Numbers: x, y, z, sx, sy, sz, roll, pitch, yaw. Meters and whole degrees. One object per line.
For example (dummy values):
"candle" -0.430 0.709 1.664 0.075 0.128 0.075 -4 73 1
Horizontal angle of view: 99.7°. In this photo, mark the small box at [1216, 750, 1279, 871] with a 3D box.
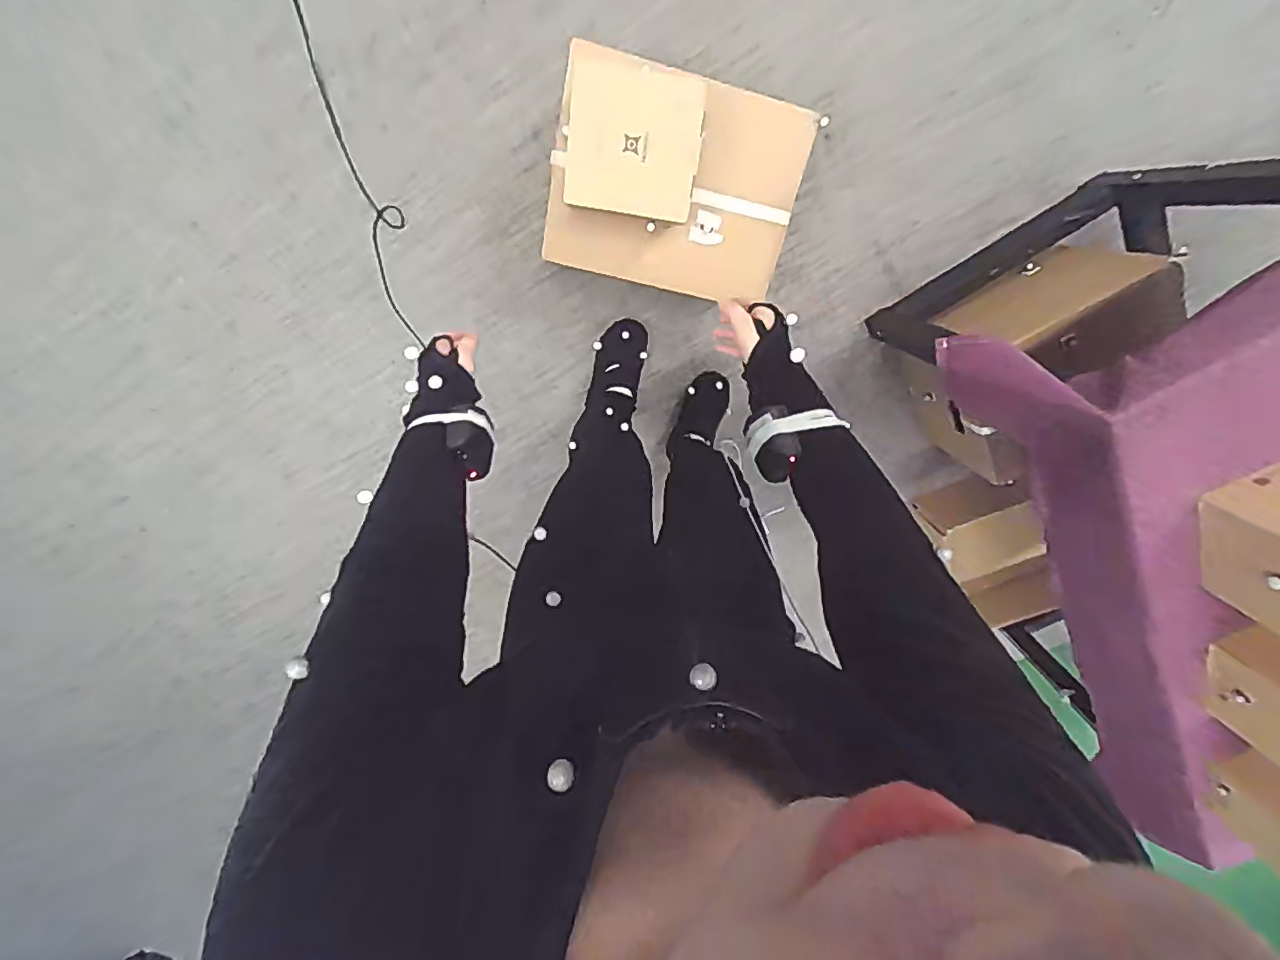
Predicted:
"small box" 1.131 0.566 0.907 0.179 0.176 0.168 -28 115 9

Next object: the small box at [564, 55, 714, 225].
"small box" -0.010 -0.472 0.776 0.179 0.176 0.168 7 114 -7

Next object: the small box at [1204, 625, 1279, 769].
"small box" 0.984 0.314 0.773 0.179 0.176 0.168 -23 116 8

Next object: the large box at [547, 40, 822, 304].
"large box" 0.052 -0.549 1.017 0.408 0.320 0.320 10 117 -9

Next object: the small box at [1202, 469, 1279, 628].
"small box" 0.835 0.088 0.647 0.168 0.176 0.179 -27 115 10
